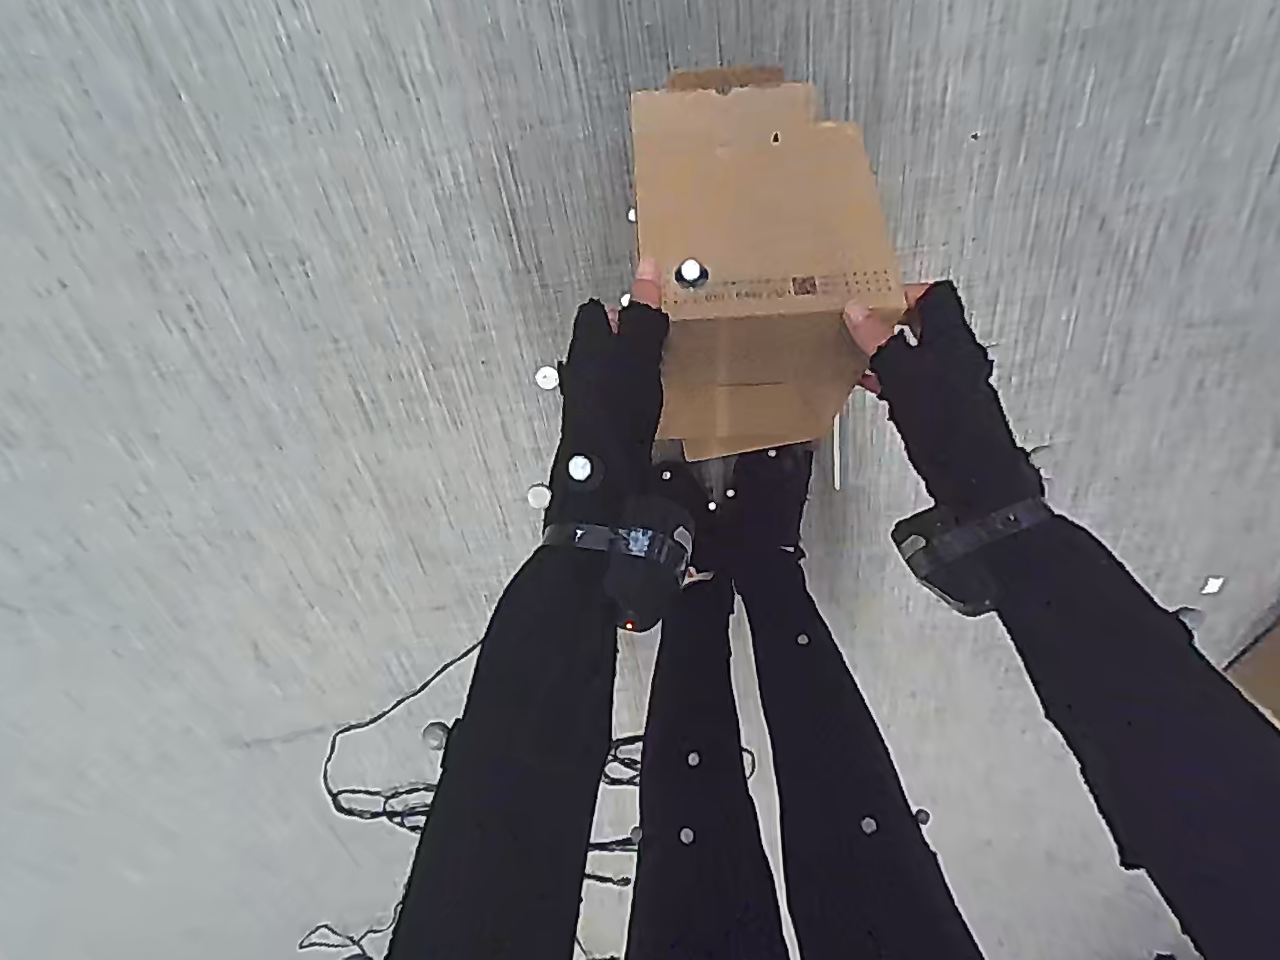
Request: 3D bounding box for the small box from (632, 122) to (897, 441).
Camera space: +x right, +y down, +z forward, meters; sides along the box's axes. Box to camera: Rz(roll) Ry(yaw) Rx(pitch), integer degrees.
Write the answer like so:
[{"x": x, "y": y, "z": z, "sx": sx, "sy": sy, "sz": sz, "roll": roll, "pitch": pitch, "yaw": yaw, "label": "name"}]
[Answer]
[{"x": 0.083, "y": -0.146, "z": 0.439, "sx": 0.168, "sy": 0.176, "sz": 0.179, "roll": -3, "pitch": 159, "yaw": 1, "label": "small box"}]
